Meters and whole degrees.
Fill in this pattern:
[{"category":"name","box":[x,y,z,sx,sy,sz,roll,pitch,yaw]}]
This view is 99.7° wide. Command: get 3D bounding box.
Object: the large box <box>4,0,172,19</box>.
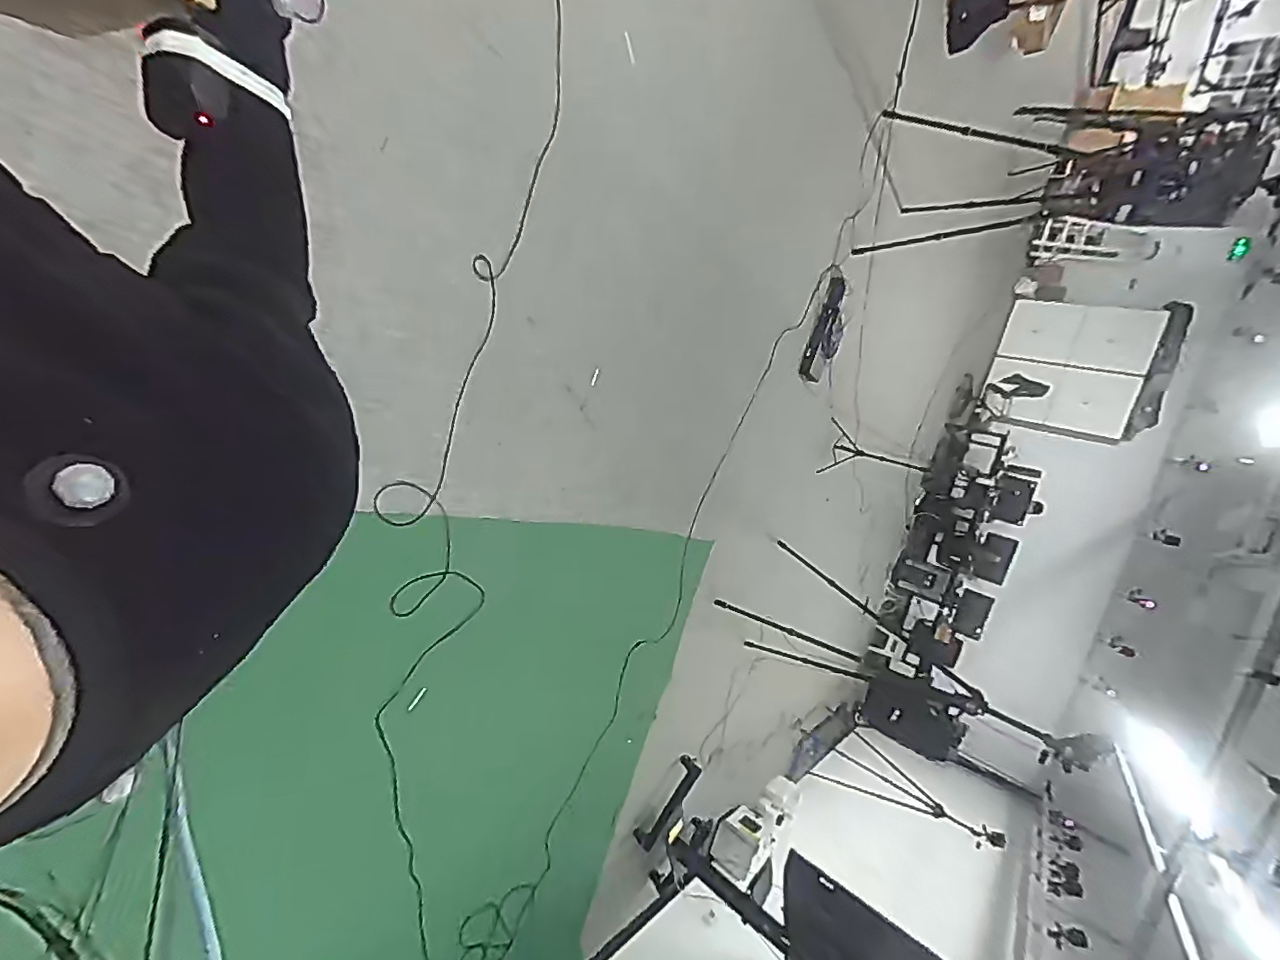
[{"category":"large box","box":[-0.518,-0.494,0.250,0.408,0.320,0.320,-19,125,-54]}]
